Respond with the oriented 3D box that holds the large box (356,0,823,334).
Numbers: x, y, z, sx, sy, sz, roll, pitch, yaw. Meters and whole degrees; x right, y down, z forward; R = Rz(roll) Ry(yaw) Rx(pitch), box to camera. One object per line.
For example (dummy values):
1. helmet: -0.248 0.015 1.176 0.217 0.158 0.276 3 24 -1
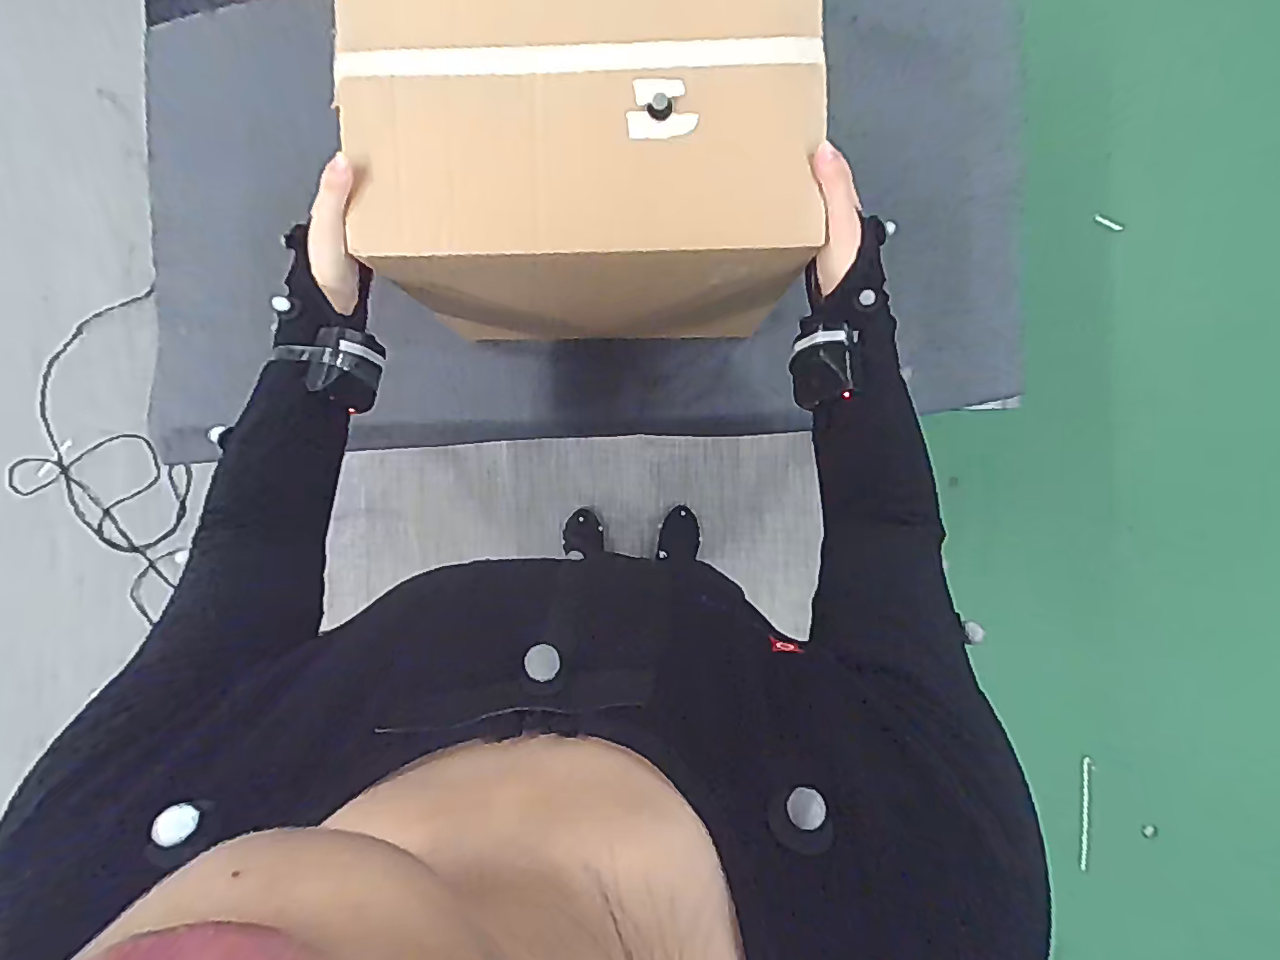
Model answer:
1. large box: -0.045 -0.361 0.612 0.408 0.320 0.320 -1 93 0
